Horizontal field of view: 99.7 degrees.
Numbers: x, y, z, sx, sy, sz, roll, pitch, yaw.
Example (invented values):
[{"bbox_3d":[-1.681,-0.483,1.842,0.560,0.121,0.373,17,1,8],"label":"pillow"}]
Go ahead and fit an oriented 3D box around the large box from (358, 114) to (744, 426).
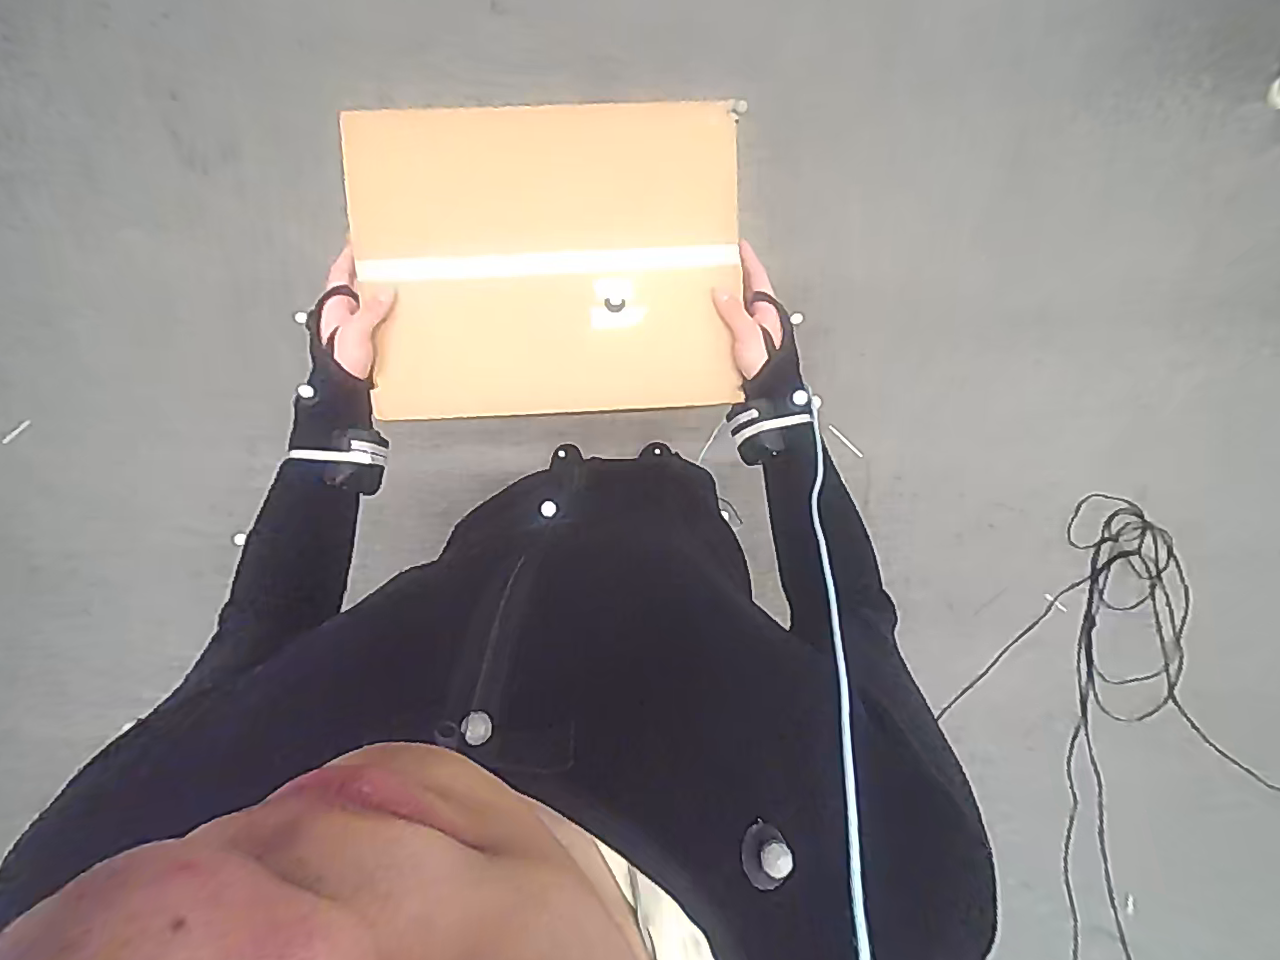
[{"bbox_3d":[-0.098,-0.243,0.737,0.408,0.320,0.320,-4,97,-2],"label":"large box"}]
